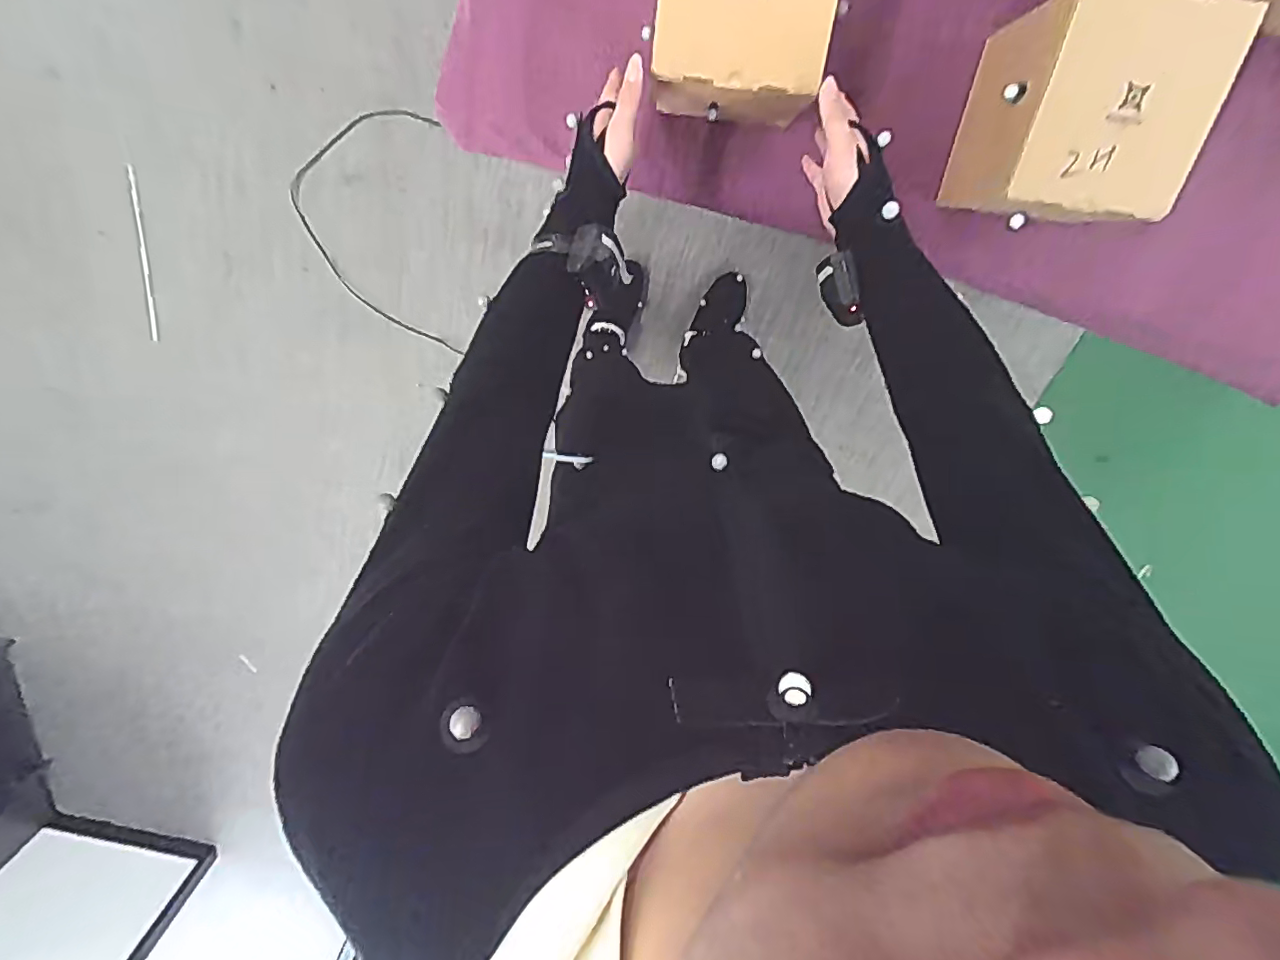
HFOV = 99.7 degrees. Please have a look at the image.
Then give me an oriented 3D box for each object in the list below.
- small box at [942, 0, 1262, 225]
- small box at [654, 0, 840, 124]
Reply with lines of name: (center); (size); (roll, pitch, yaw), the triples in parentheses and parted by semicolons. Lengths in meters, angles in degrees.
small box: (0.463, -0.383, 0.584); (0.168, 0.176, 0.179); (9, 116, 0)
small box: (0.106, -0.491, 0.558); (0.168, 0.176, 0.179); (7, 117, 0)
